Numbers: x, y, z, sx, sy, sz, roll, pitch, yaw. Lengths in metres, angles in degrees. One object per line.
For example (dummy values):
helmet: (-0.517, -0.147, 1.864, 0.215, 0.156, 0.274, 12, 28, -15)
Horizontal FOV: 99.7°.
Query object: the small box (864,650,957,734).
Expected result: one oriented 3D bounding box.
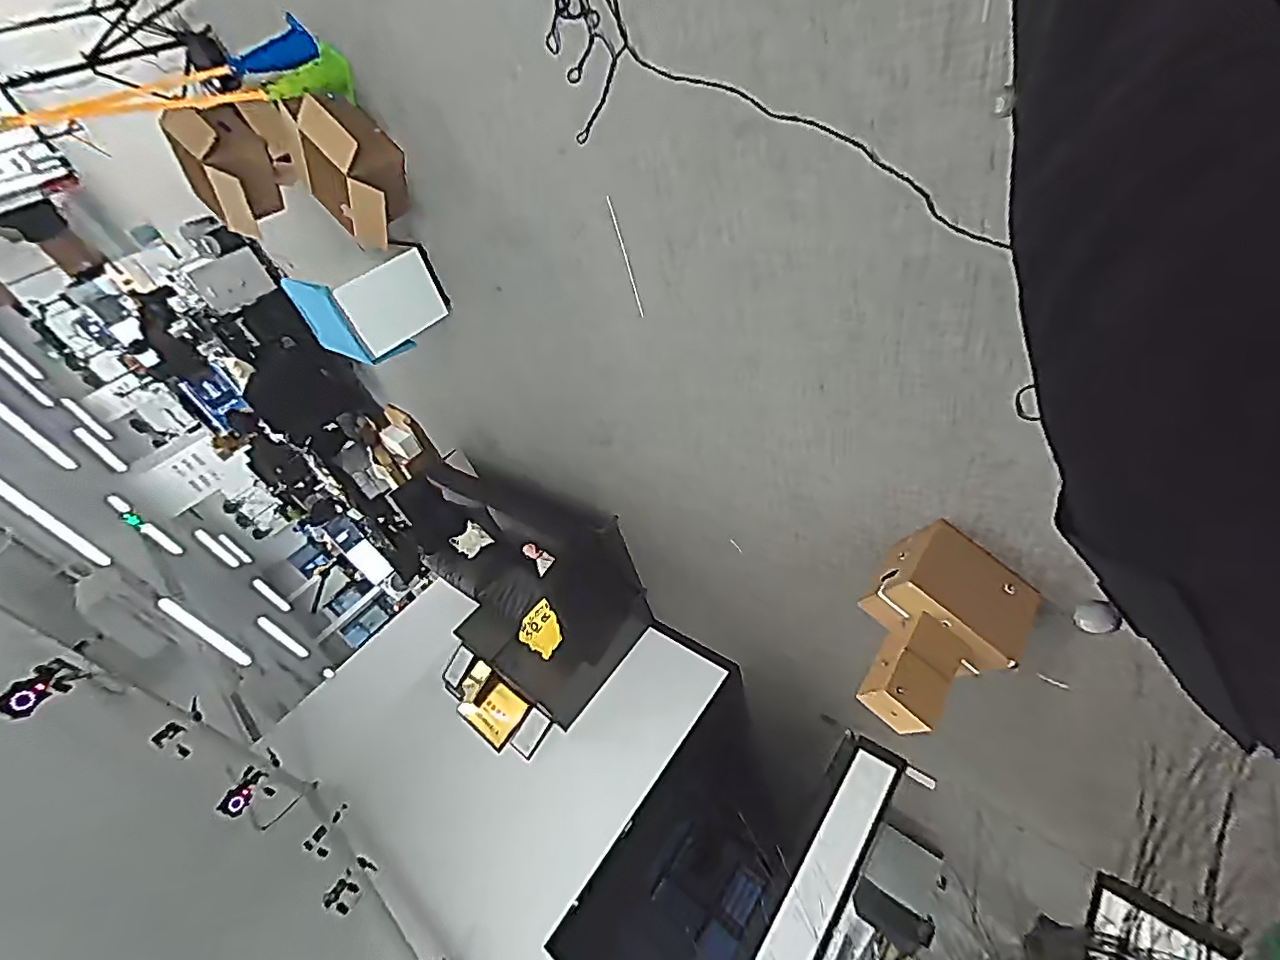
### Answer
small box: (0.858, 0.670, 1.710, 0.179, 0.176, 0.168, 40, 152, 12)
